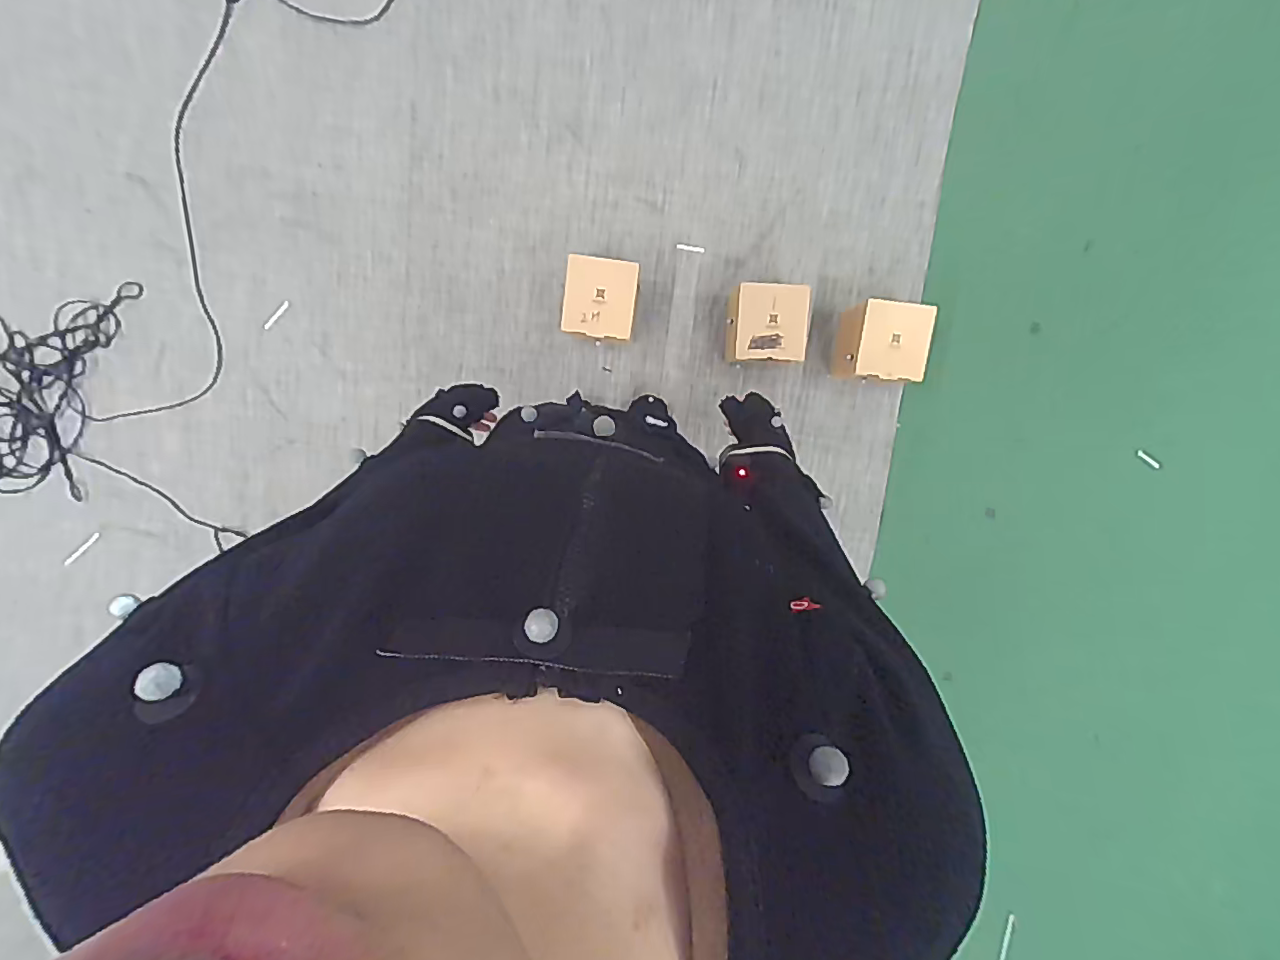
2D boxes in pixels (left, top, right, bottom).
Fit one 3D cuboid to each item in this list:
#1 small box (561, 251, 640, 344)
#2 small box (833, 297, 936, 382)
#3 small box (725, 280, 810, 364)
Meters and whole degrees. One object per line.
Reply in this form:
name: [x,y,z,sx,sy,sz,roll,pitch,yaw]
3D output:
small box: [-0.092,-0.437,1.319,0.168,0.176,0.179,8,100,0]
small box: [0.596,-0.342,1.341,0.168,0.176,0.179,6,99,0]
small box: [0.306,-0.381,1.331,0.168,0.176,0.179,2,99,-1]
